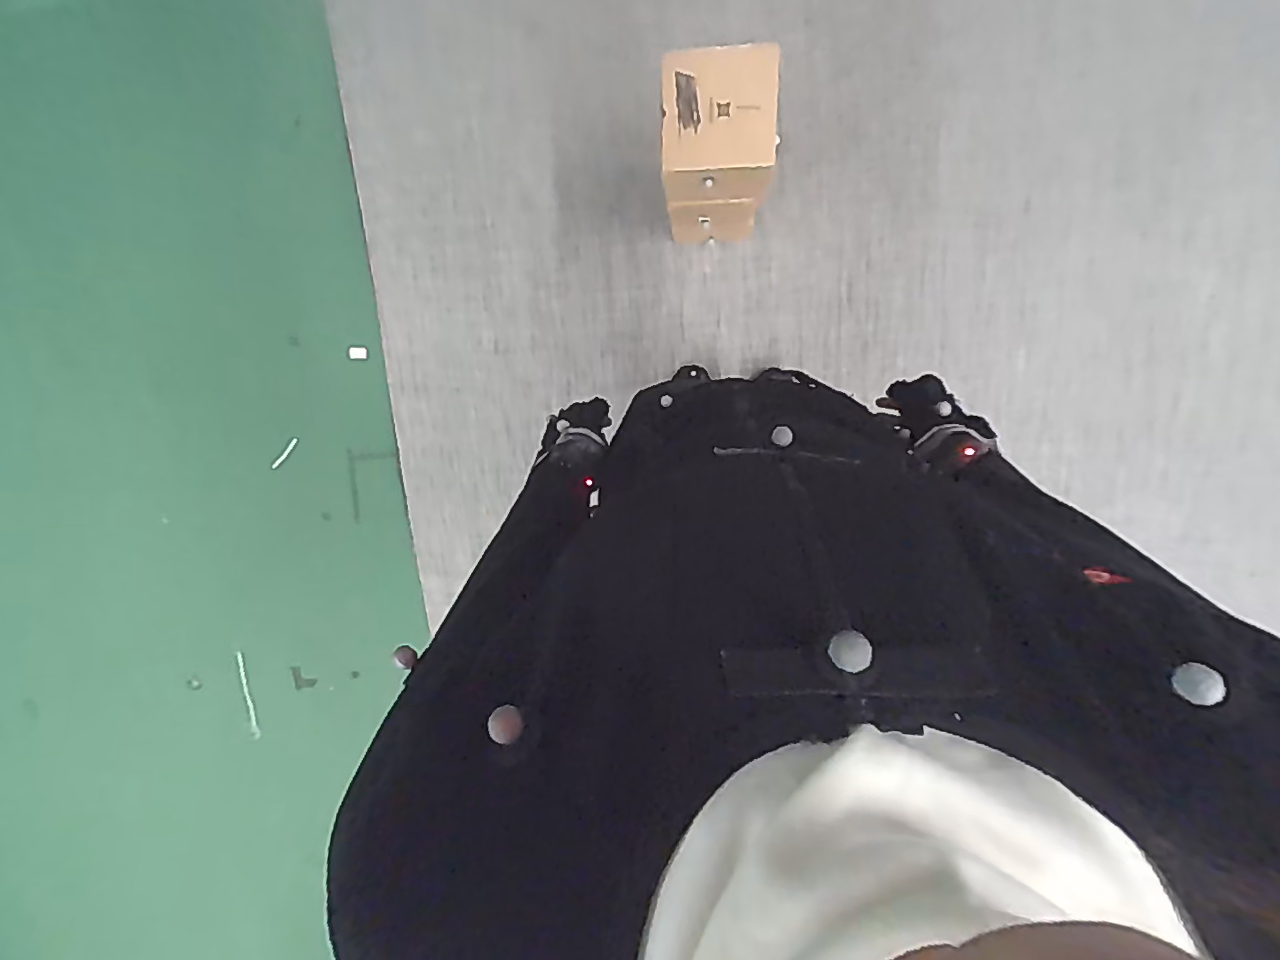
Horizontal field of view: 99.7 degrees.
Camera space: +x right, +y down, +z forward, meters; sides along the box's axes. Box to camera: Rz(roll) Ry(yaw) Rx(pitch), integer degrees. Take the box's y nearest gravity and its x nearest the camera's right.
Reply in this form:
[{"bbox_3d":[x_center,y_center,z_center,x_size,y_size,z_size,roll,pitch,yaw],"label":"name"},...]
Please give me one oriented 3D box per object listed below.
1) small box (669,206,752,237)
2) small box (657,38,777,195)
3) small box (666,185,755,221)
[{"bbox_3d":[0.157,-0.650,1.209,0.179,0.176,0.168,1,103,6],"label":"small box"},{"bbox_3d":[0.124,-0.583,0.891,0.179,0.176,0.168,1,103,7],"label":"small box"},{"bbox_3d":[0.137,-0.619,1.051,0.168,0.176,0.179,1,104,8],"label":"small box"}]
